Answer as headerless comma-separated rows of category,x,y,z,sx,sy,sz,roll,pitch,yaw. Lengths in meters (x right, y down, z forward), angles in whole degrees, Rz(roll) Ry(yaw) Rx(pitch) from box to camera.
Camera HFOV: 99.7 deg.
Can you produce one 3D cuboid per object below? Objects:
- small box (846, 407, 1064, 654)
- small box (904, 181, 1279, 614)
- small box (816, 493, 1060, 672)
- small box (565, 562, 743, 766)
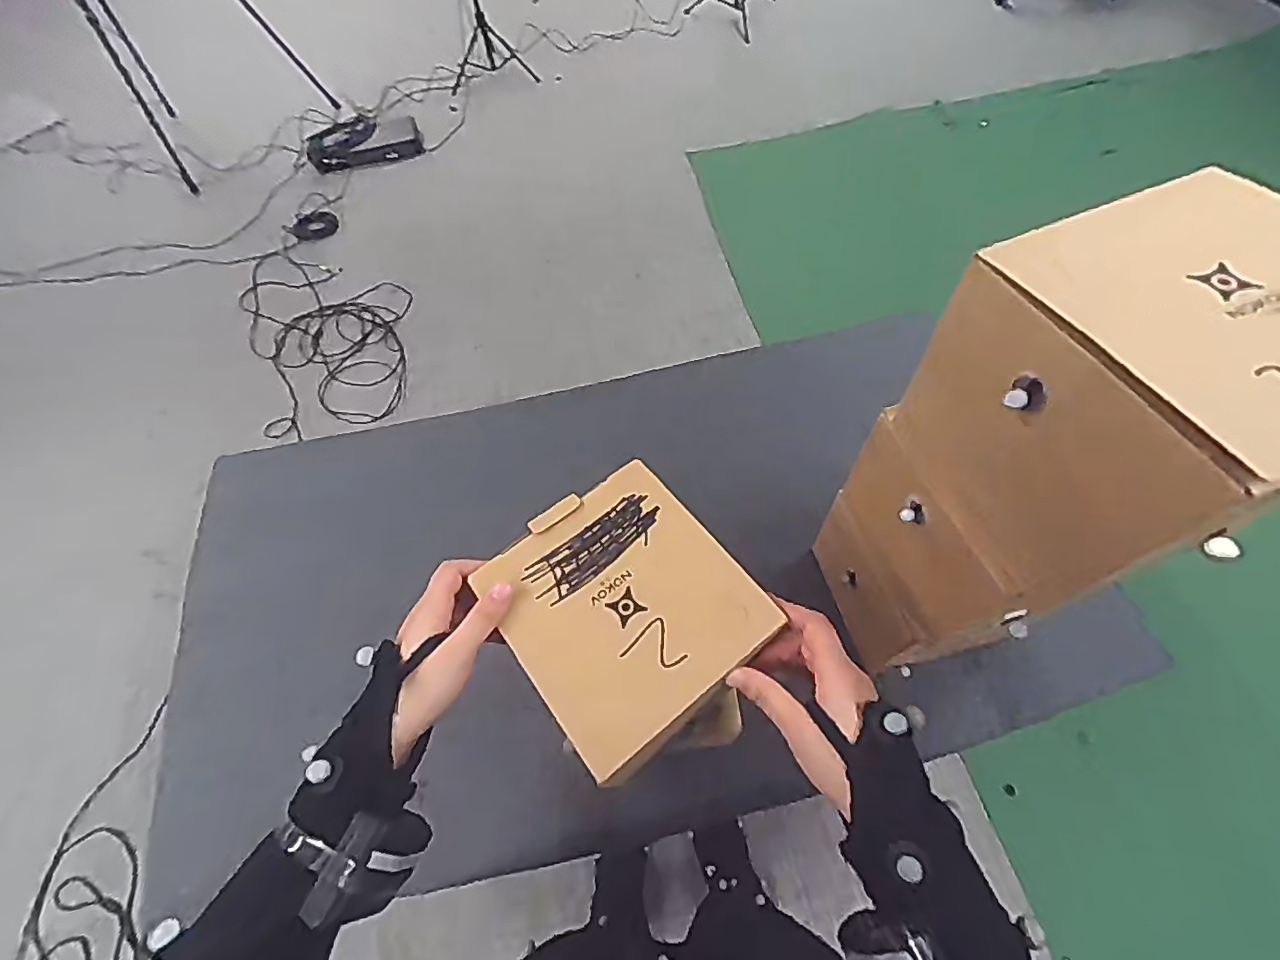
small box,0.312,0.033,0.486,0.168,0.176,0.179,-18,61,-4
small box,0.303,-0.043,0.339,0.168,0.176,0.179,-21,60,-5
small box,0.325,0.111,0.628,0.168,0.176,0.179,-14,59,-3
small box,0.011,0.209,0.601,0.168,0.176,0.179,-7,60,1
